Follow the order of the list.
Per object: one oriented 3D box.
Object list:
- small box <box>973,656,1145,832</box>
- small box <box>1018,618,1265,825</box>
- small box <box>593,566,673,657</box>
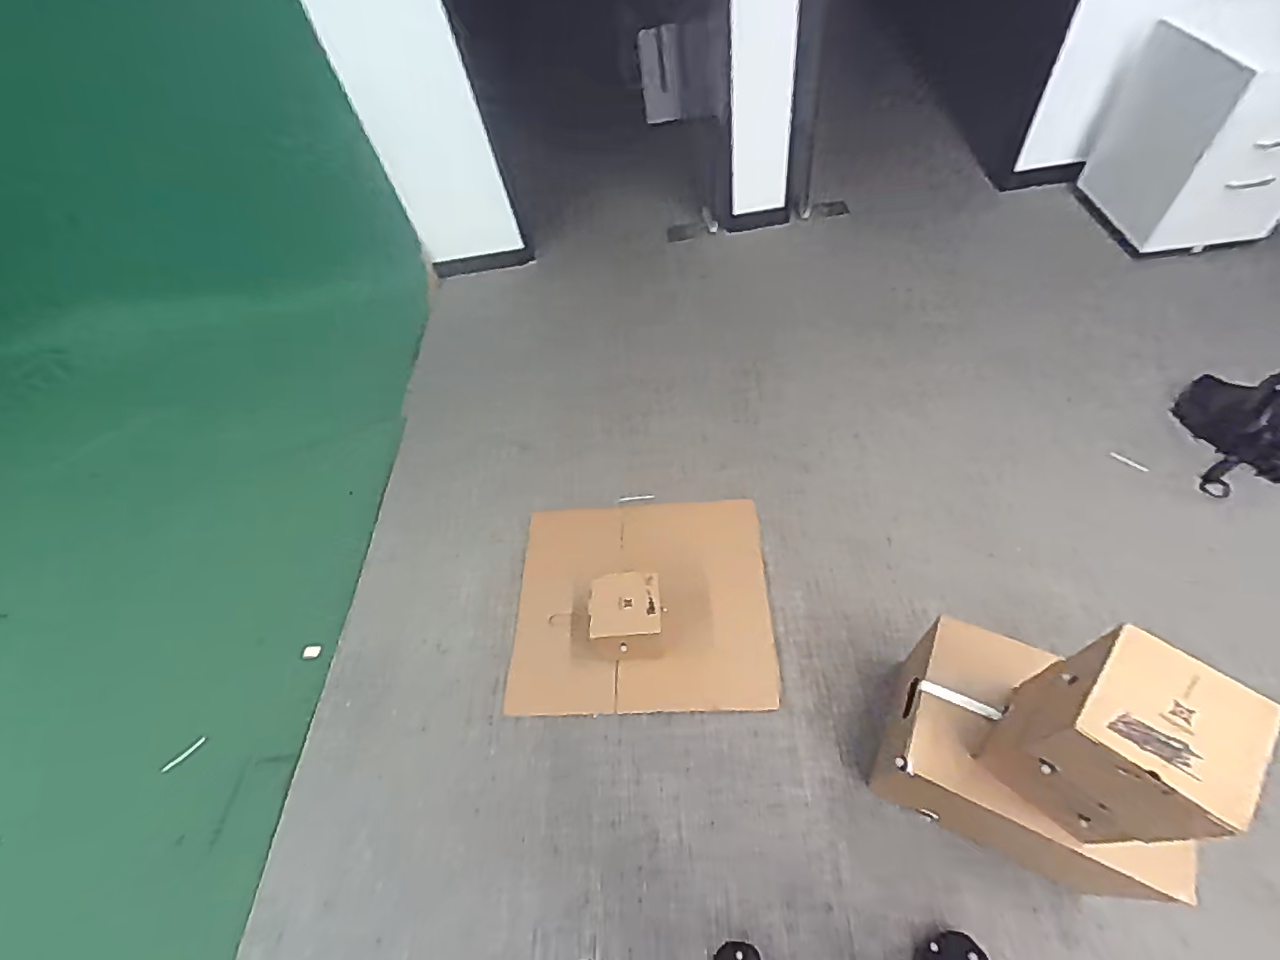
[{"bbox_3d":[0.670,0.416,0.848,0.179,0.176,0.168,34,66,30],"label":"small box"},{"bbox_3d":[0.641,0.323,0.715,0.168,0.176,0.179,32,66,28],"label":"small box"},{"bbox_3d":[-0.017,0.343,1.394,0.179,0.176,0.168,-9,51,6],"label":"small box"}]
